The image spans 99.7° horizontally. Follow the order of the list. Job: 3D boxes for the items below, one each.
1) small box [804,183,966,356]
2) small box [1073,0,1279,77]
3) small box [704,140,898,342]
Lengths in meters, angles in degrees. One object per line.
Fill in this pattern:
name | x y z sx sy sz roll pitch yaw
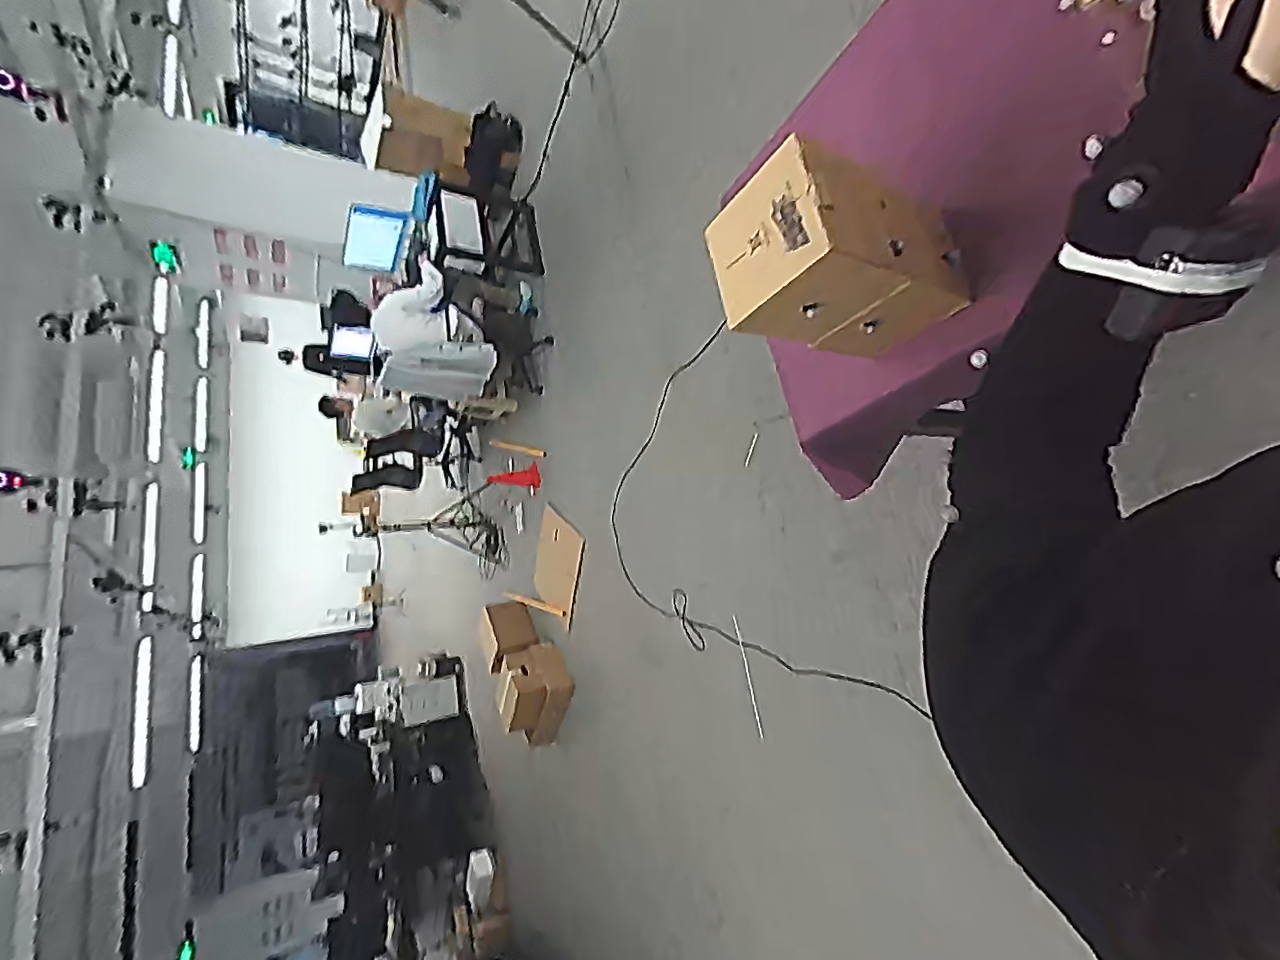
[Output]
small box | 0.354 -0.305 0.829 0.179 0.176 0.168 -30 67 52
small box | 0.430 -0.465 0.415 0.168 0.176 0.179 -31 66 53
small box | 0.219 -0.307 0.735 0.179 0.176 0.168 -32 65 53
